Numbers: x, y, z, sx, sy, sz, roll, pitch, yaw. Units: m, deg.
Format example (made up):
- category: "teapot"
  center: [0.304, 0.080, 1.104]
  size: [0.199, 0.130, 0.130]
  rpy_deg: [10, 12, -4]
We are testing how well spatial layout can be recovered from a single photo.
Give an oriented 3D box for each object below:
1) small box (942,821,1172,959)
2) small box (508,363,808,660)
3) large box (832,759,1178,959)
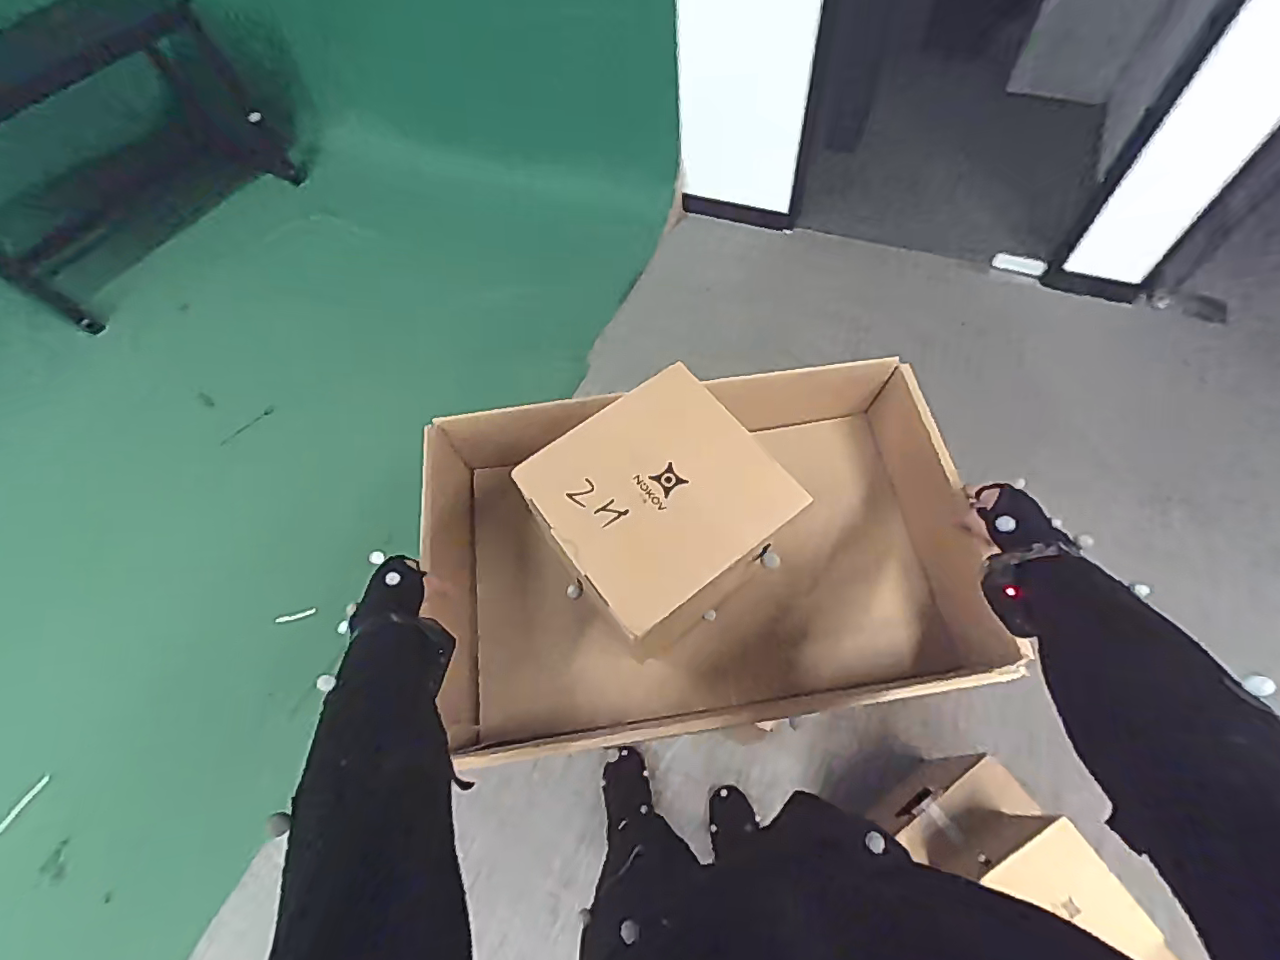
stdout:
- category: "small box"
  center: [0.595, 0.635, 0.802]
  size: [0.179, 0.176, 0.168]
  rpy_deg: [-27, 61, -10]
- category: "small box"
  center: [0.013, 0.037, 0.485]
  size: [0.179, 0.176, 0.168]
  rpy_deg: [-35, 69, -13]
- category: "large box"
  center: [0.634, 0.791, 0.991]
  size: [0.320, 0.320, 0.408]
  rpy_deg: [-32, 63, -11]
